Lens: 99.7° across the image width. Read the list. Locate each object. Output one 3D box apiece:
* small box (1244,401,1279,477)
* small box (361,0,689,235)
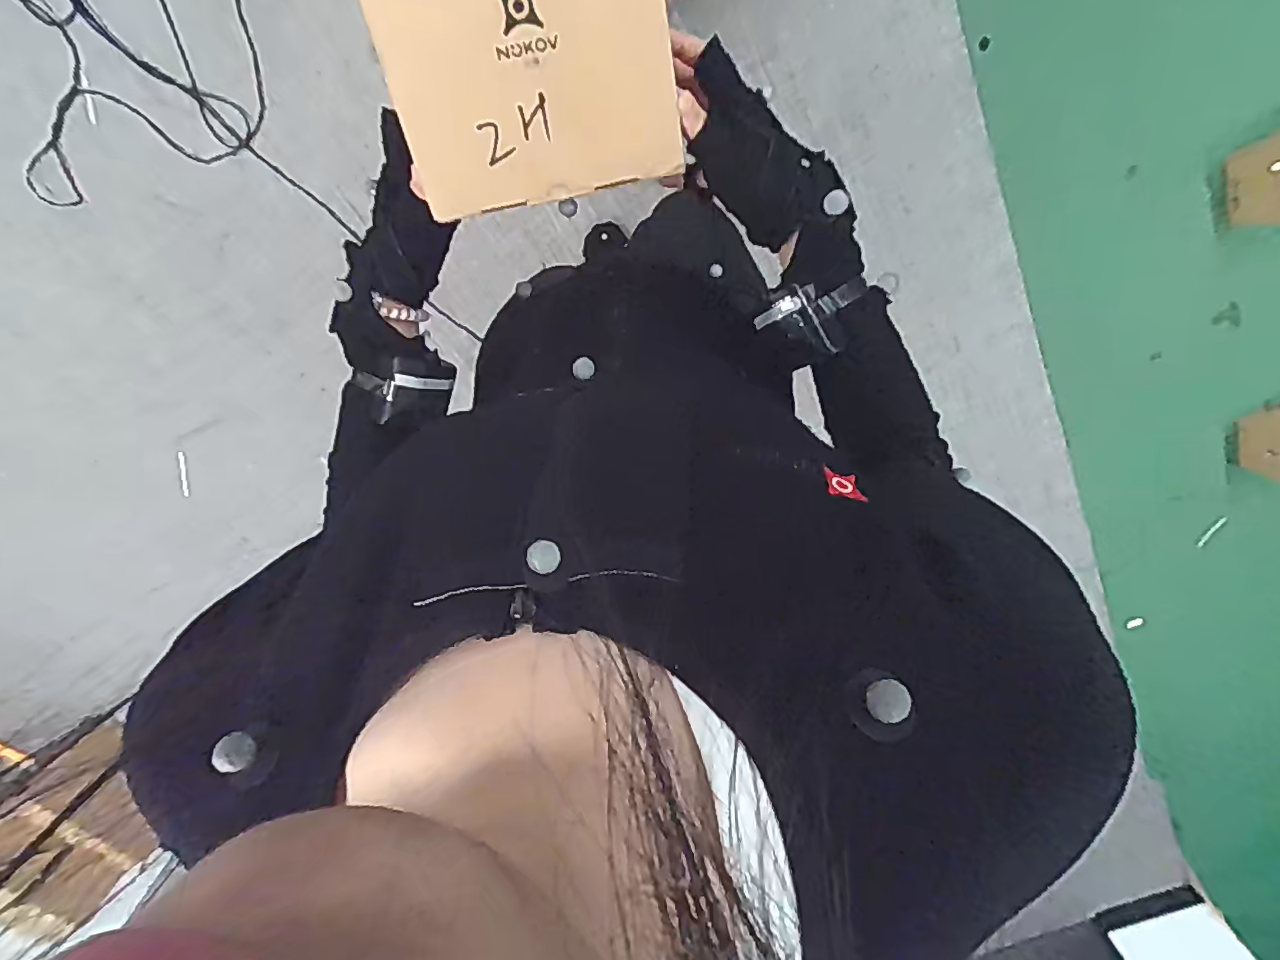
[{"bbox_3d":[1.822,-0.112,1.477,0.168,0.176,0.179,-27,113,11],"label":"small box"},{"bbox_3d":[-0.069,-0.280,0.368,0.168,0.176,0.179,-11,120,1],"label":"small box"}]
